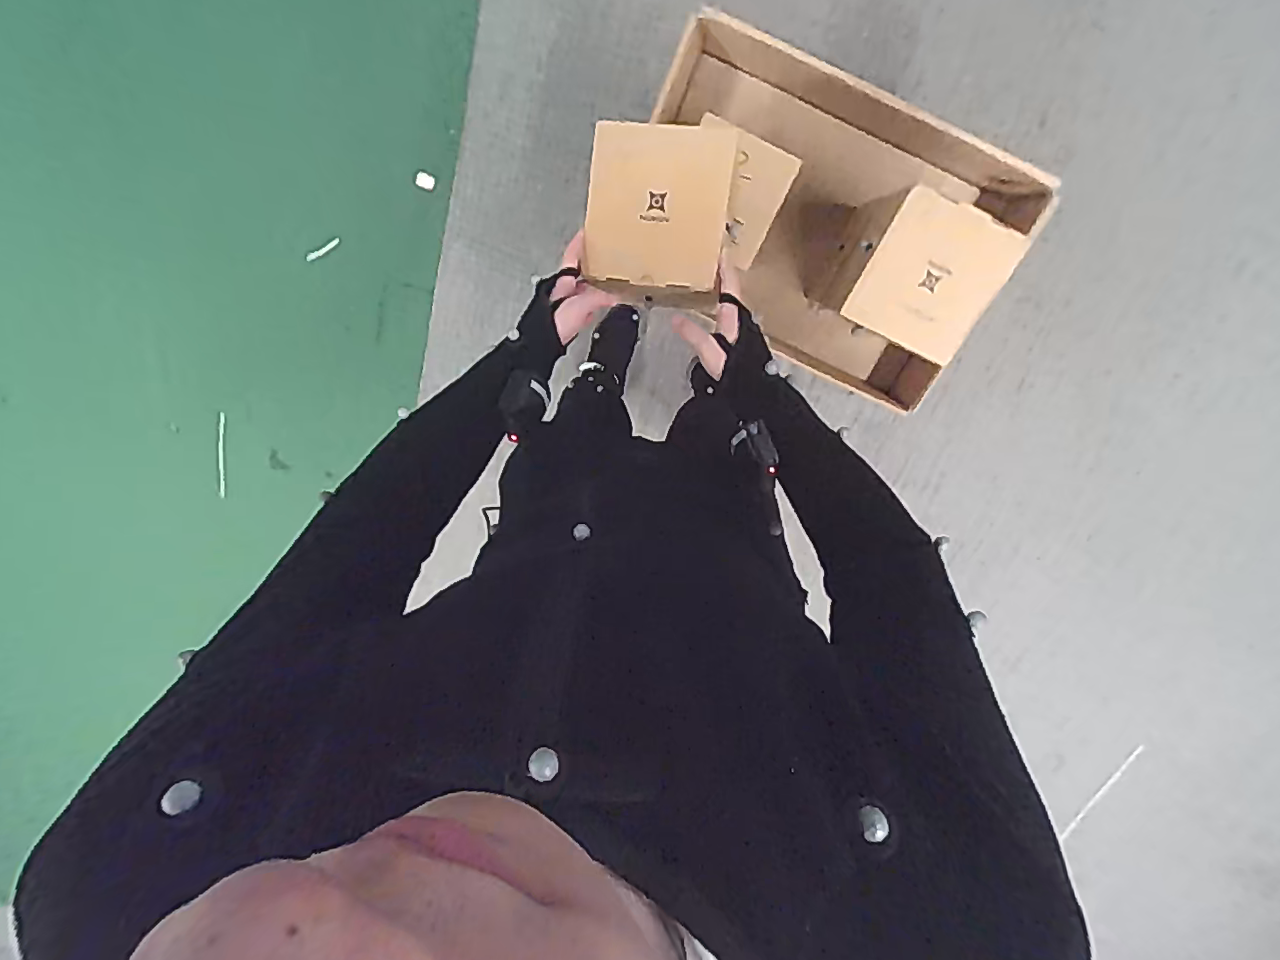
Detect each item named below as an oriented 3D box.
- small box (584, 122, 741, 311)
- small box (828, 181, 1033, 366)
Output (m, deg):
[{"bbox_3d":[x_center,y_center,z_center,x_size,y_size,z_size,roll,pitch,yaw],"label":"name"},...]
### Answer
[{"bbox_3d":[0.034,-0.327,0.701,0.168,0.176,0.179,8,101,8],"label":"small box"},{"bbox_3d":[0.390,-0.288,0.769,0.168,0.176,0.179,27,113,-1],"label":"small box"}]
